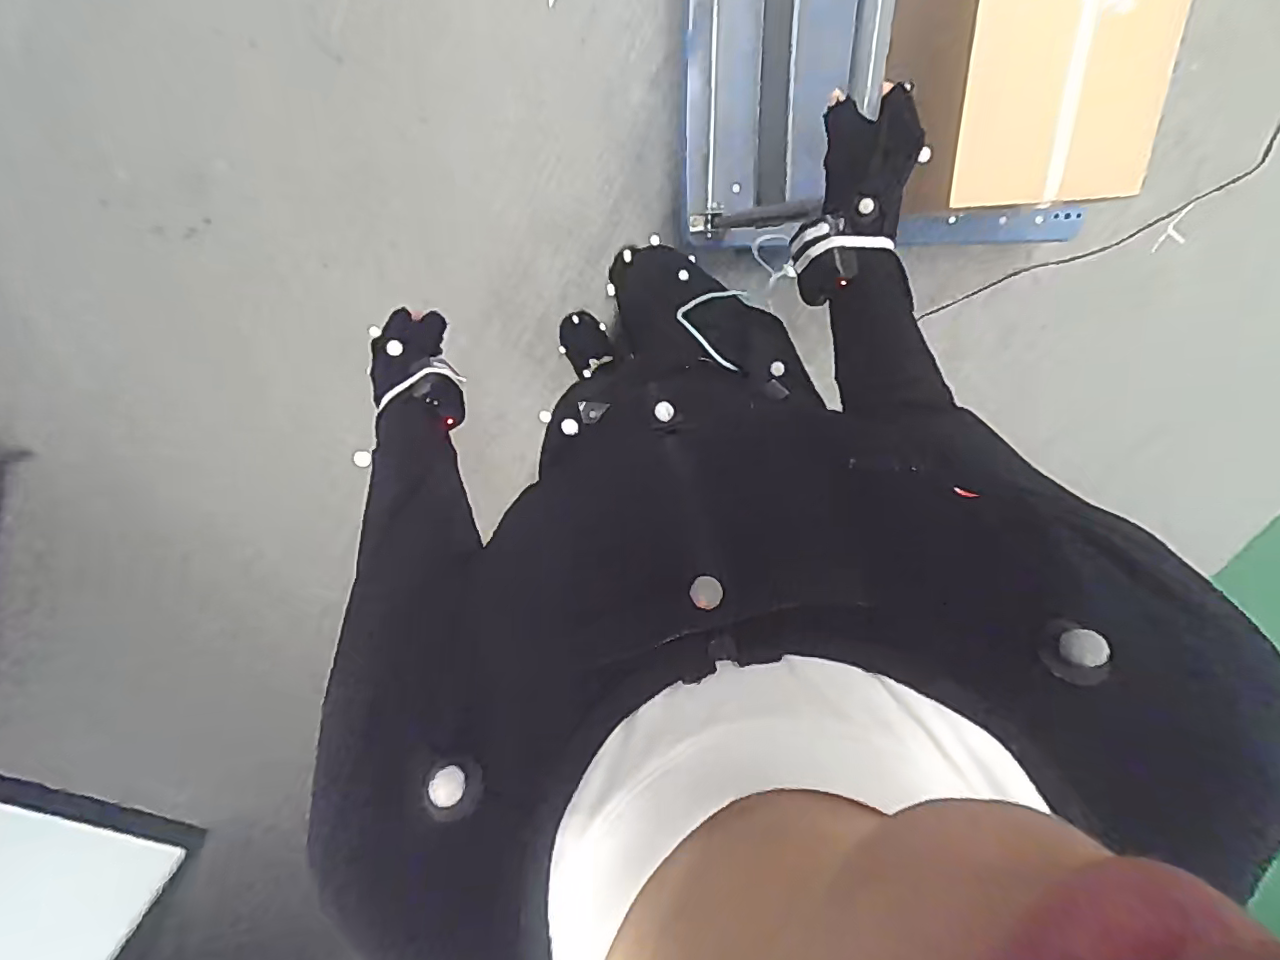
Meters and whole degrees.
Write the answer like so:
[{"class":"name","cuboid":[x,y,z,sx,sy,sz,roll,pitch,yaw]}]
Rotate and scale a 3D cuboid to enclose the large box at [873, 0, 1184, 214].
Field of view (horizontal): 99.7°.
[{"class":"large box","cuboid":[0.626,-0.699,0.925,0.320,0.320,0.408,-4,112,-2]}]
